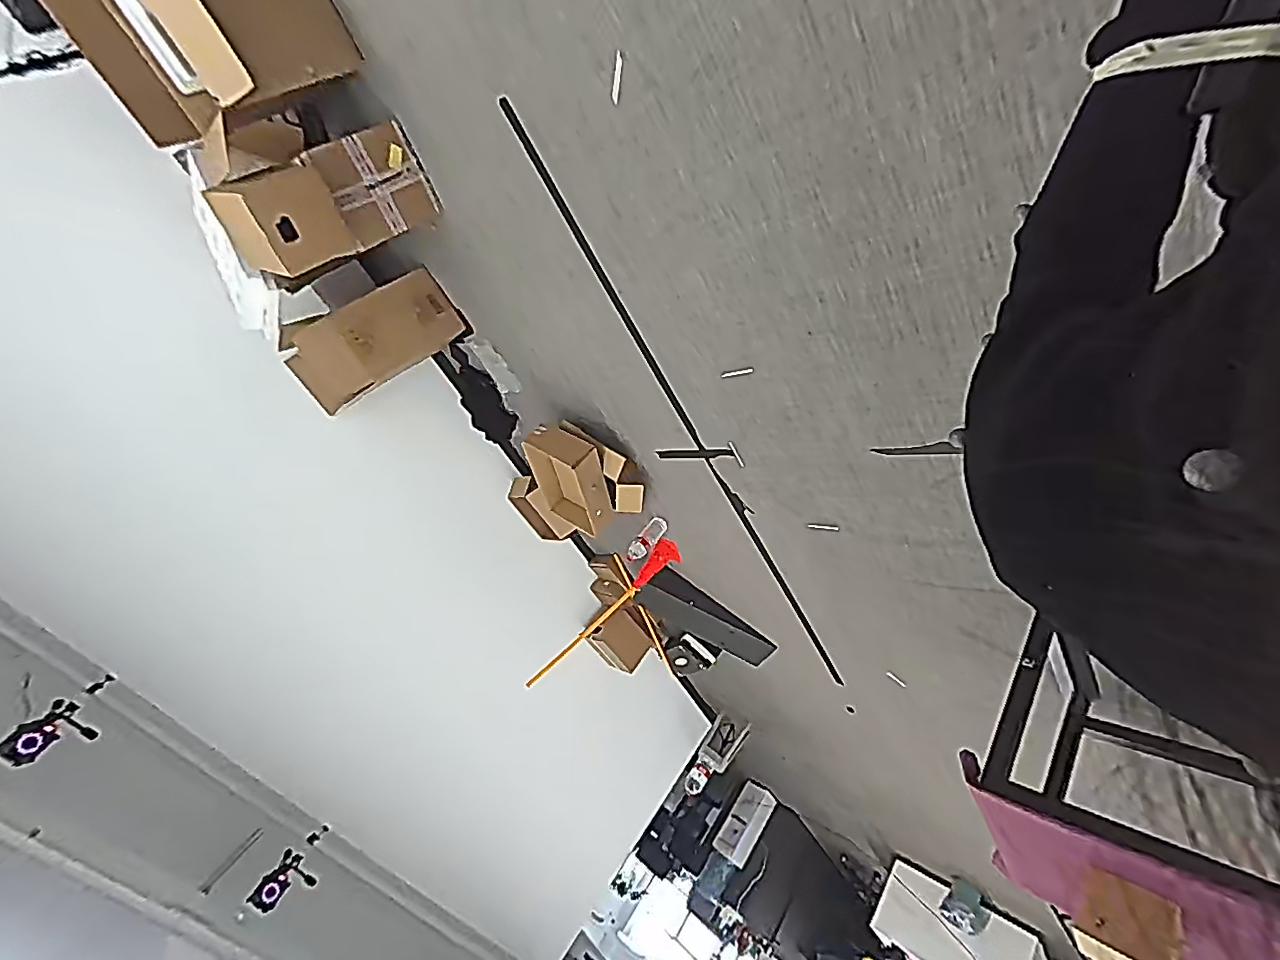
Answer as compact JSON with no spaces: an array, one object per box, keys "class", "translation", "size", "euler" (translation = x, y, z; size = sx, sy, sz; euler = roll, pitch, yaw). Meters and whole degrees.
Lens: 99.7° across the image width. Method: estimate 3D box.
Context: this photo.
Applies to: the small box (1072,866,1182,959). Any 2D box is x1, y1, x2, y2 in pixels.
[{"class":"small box","translation":[1.206,1.101,1.338],"size":[0.179,0.176,0.168],"euler":[3,133,50]}]
